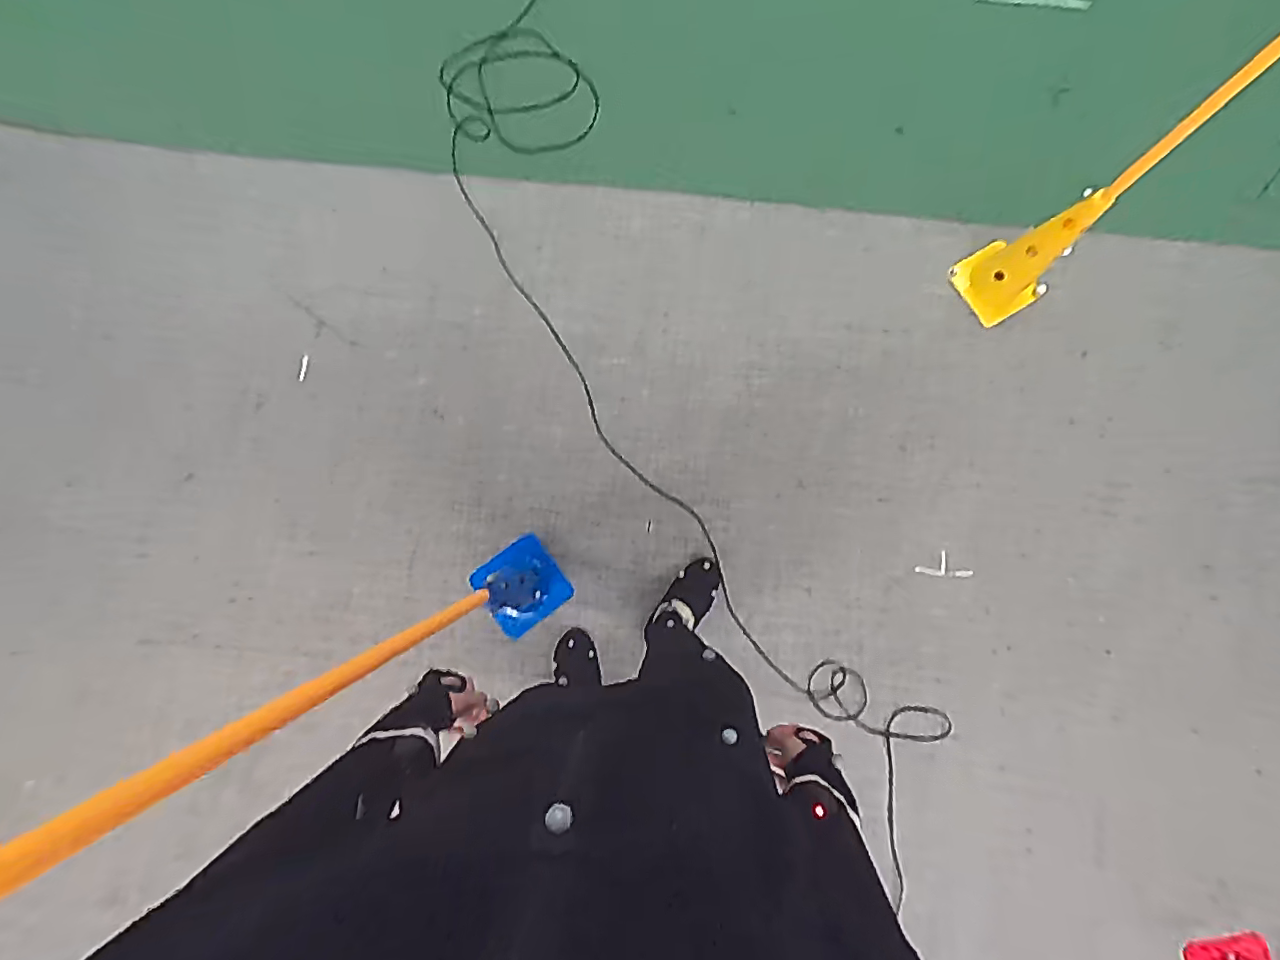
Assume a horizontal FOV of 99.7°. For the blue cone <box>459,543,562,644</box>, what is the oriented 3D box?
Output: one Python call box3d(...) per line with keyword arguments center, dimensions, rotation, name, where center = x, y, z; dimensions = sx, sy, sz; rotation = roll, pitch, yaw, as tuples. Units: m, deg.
box3d(center=(-0.302, 0.257, 1.150), dimensions=(0.193, 0.380, 0.192), rotation=(-39, 85, -5), name="blue cone")
